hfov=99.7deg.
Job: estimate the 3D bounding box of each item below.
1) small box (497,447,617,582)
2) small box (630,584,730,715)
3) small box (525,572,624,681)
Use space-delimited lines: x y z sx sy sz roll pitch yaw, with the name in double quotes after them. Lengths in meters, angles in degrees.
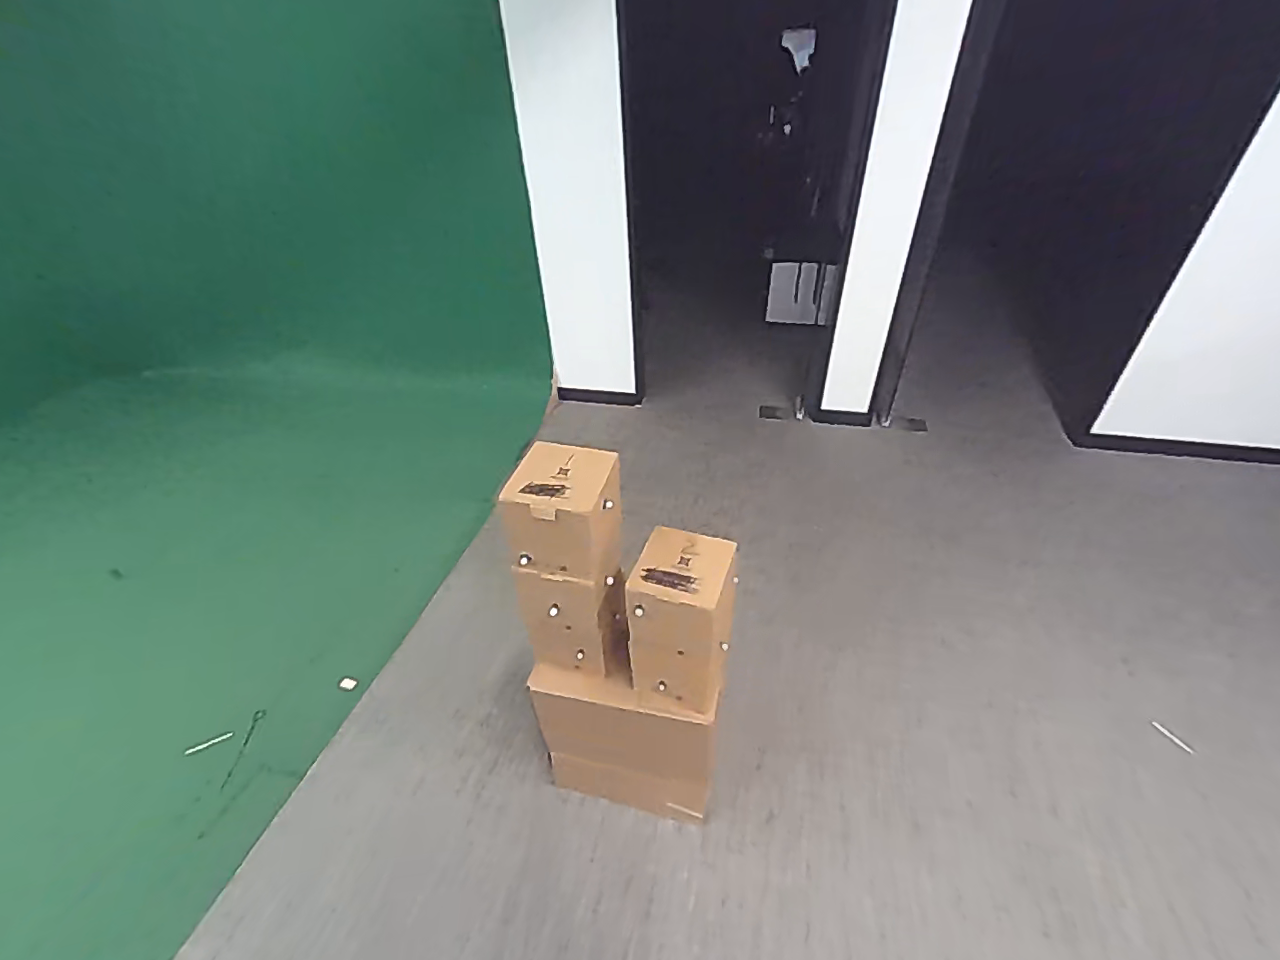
-0.141 0.063 0.999 0.168 0.176 0.179 8 38 11 "small box"
0.087 0.356 1.141 0.168 0.176 0.179 10 40 18 "small box"
-0.135 0.318 1.205 0.168 0.176 0.179 10 39 12 "small box"
